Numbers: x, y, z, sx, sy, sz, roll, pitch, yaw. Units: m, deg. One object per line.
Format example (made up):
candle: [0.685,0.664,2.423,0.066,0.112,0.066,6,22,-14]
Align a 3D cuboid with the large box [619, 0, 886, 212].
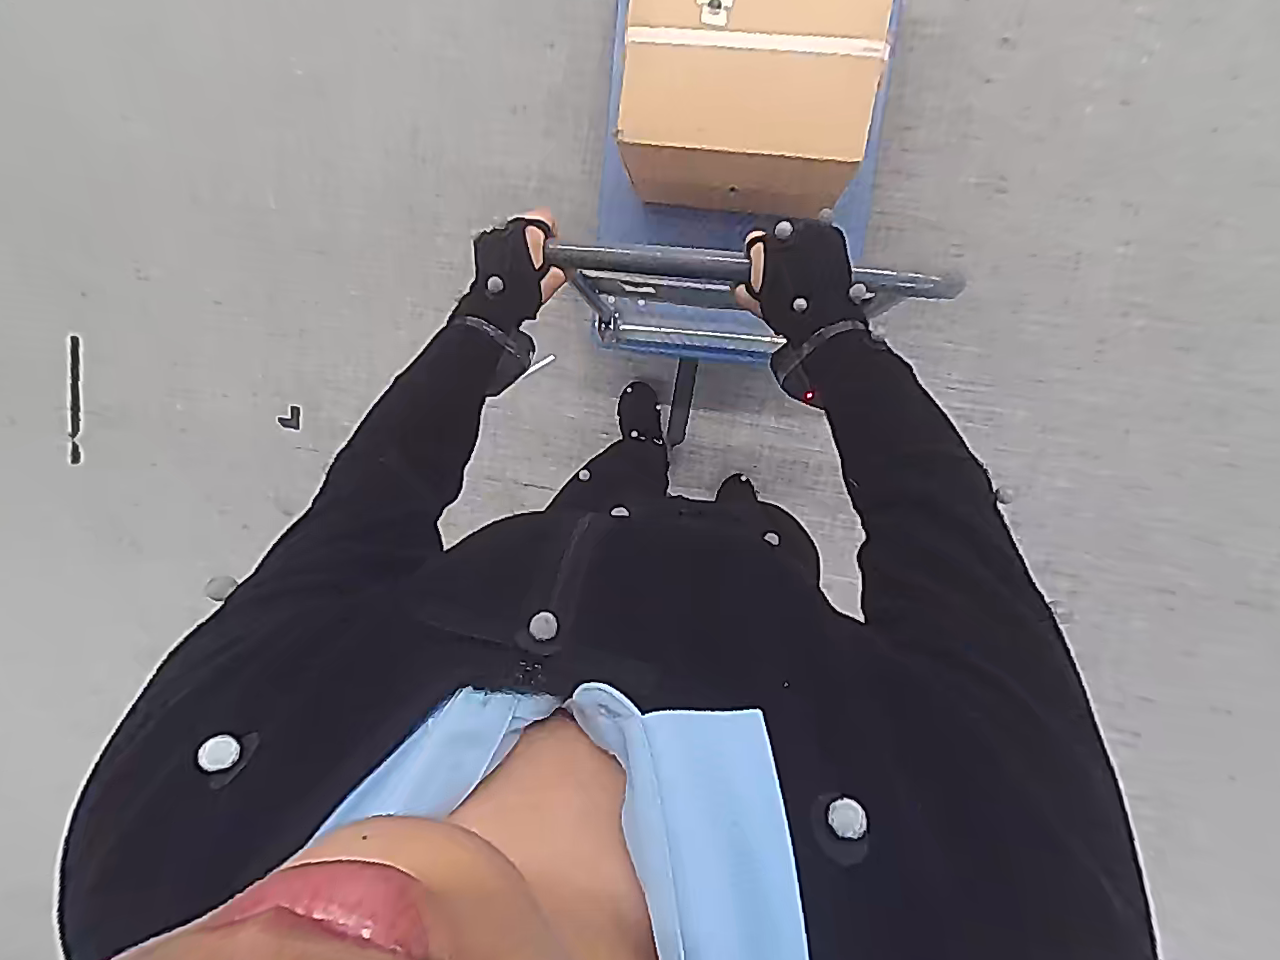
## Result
large box: [0.198,-0.721,1.012,0.408,0.320,0.320,9,100,6]
